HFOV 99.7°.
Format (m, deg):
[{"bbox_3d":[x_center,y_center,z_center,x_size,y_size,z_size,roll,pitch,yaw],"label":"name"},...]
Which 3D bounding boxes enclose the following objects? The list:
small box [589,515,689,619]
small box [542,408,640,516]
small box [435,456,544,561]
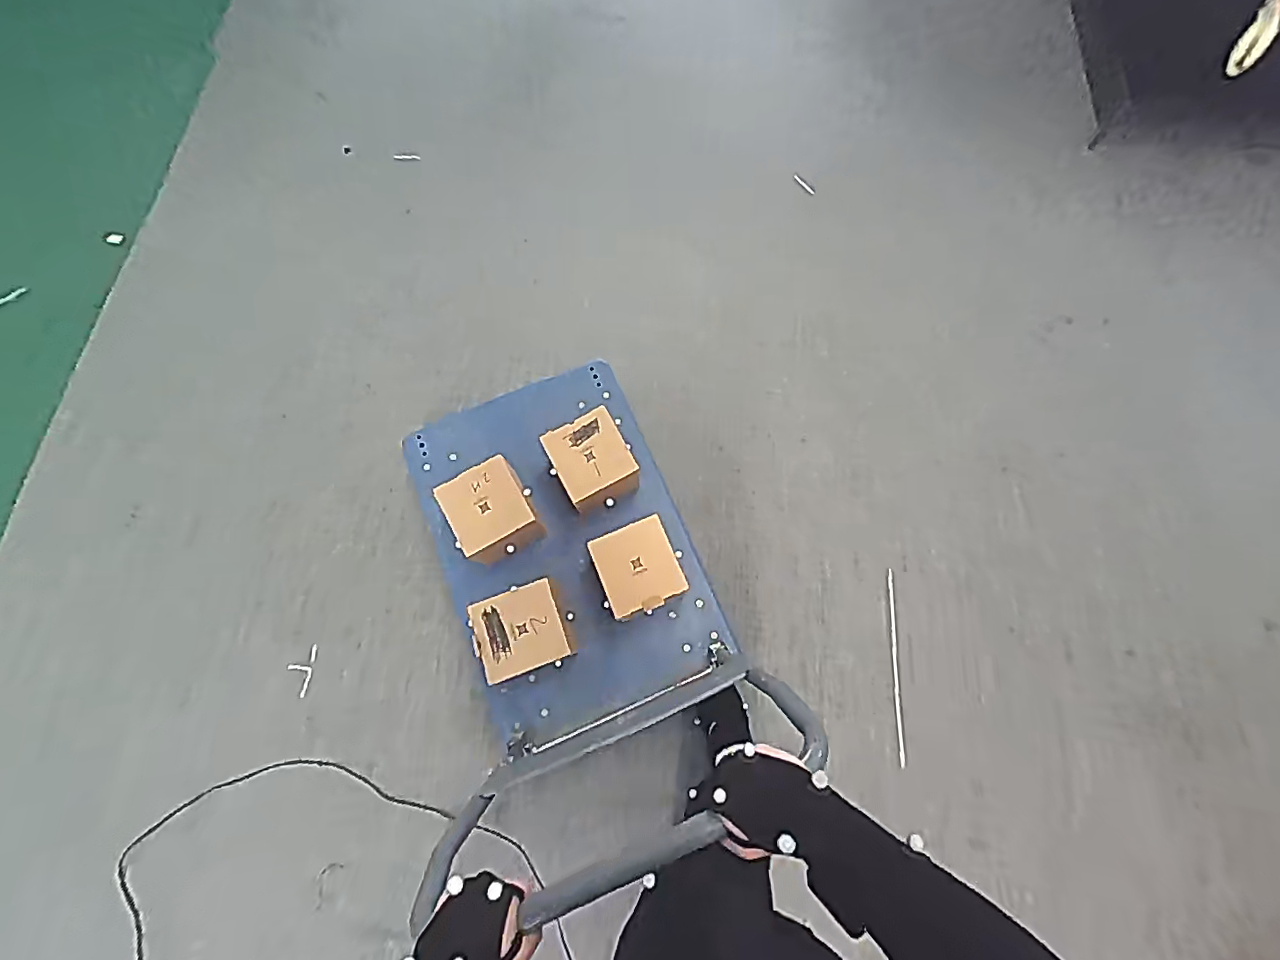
[{"bbox_3d":[-0.004,0.201,1.212,0.168,0.176,0.179,-22,76,-5],"label":"small box"},{"bbox_3d":[-0.112,-0.037,1.277,0.168,0.176,0.179,-27,77,-6],"label":"small box"},{"bbox_3d":[-0.337,0.076,1.247,0.168,0.176,0.179,-29,76,-8],"label":"small box"}]
